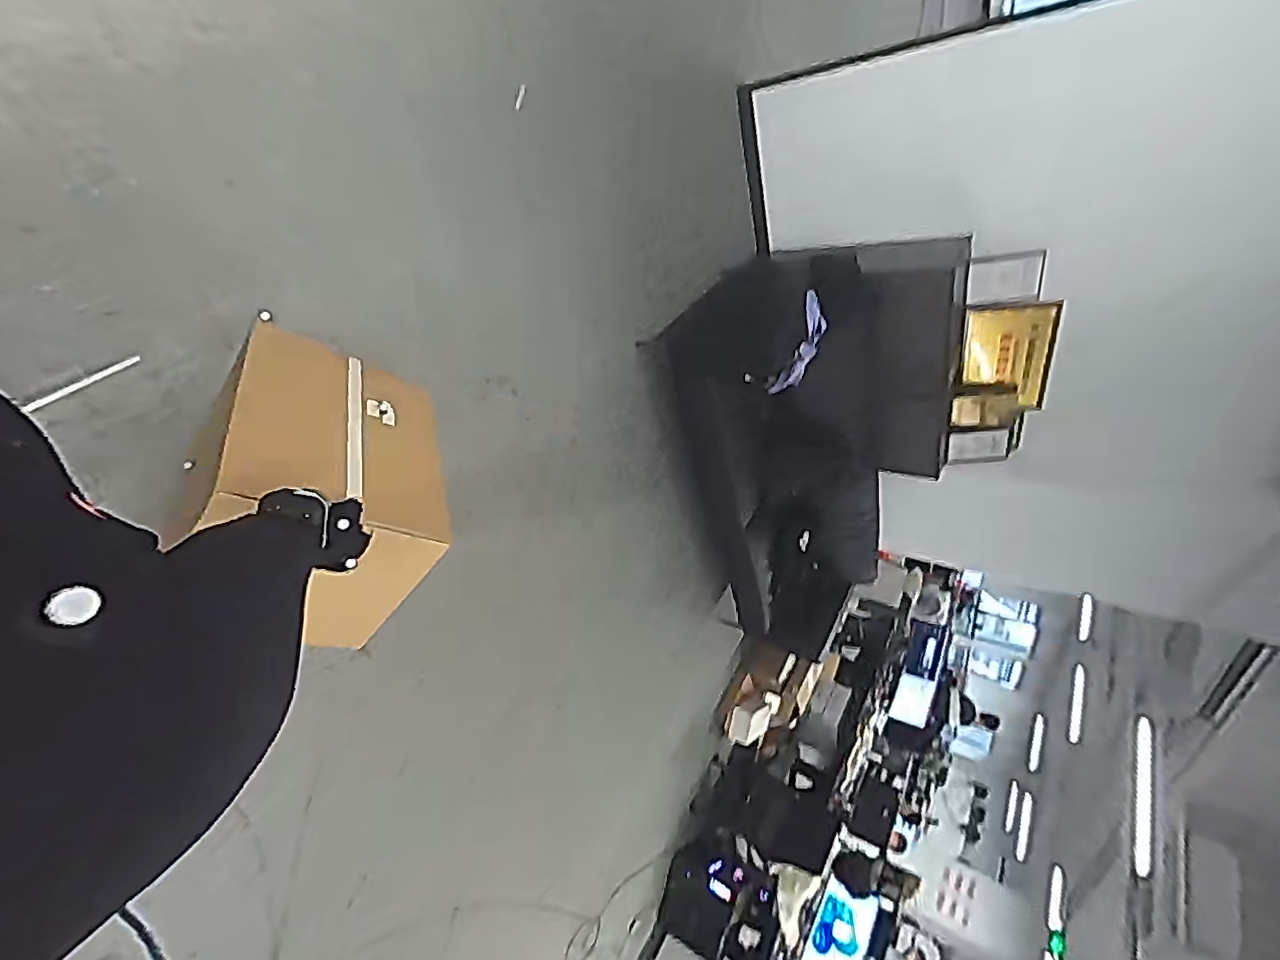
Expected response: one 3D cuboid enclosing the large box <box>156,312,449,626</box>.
[{"bbox_3d":[-0.573,-0.003,0.942,0.320,0.408,0.320,23,122,-43],"label":"large box"}]
